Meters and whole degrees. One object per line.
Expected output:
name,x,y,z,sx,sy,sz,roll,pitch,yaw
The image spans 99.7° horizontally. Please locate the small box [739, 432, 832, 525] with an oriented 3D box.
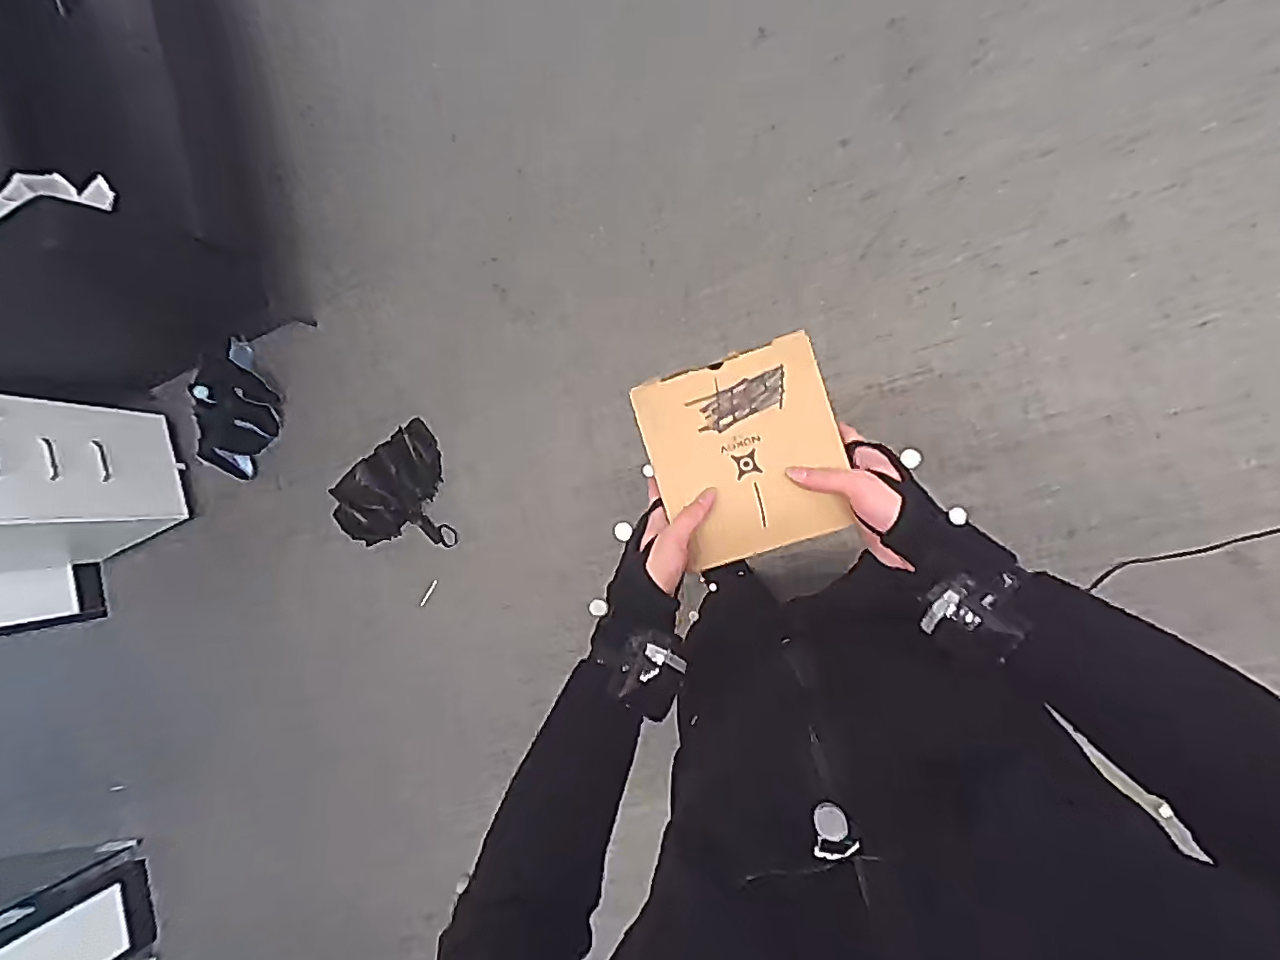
small box,0.345,-0.001,1.283,0.168,0.176,0.179,-18,85,18
